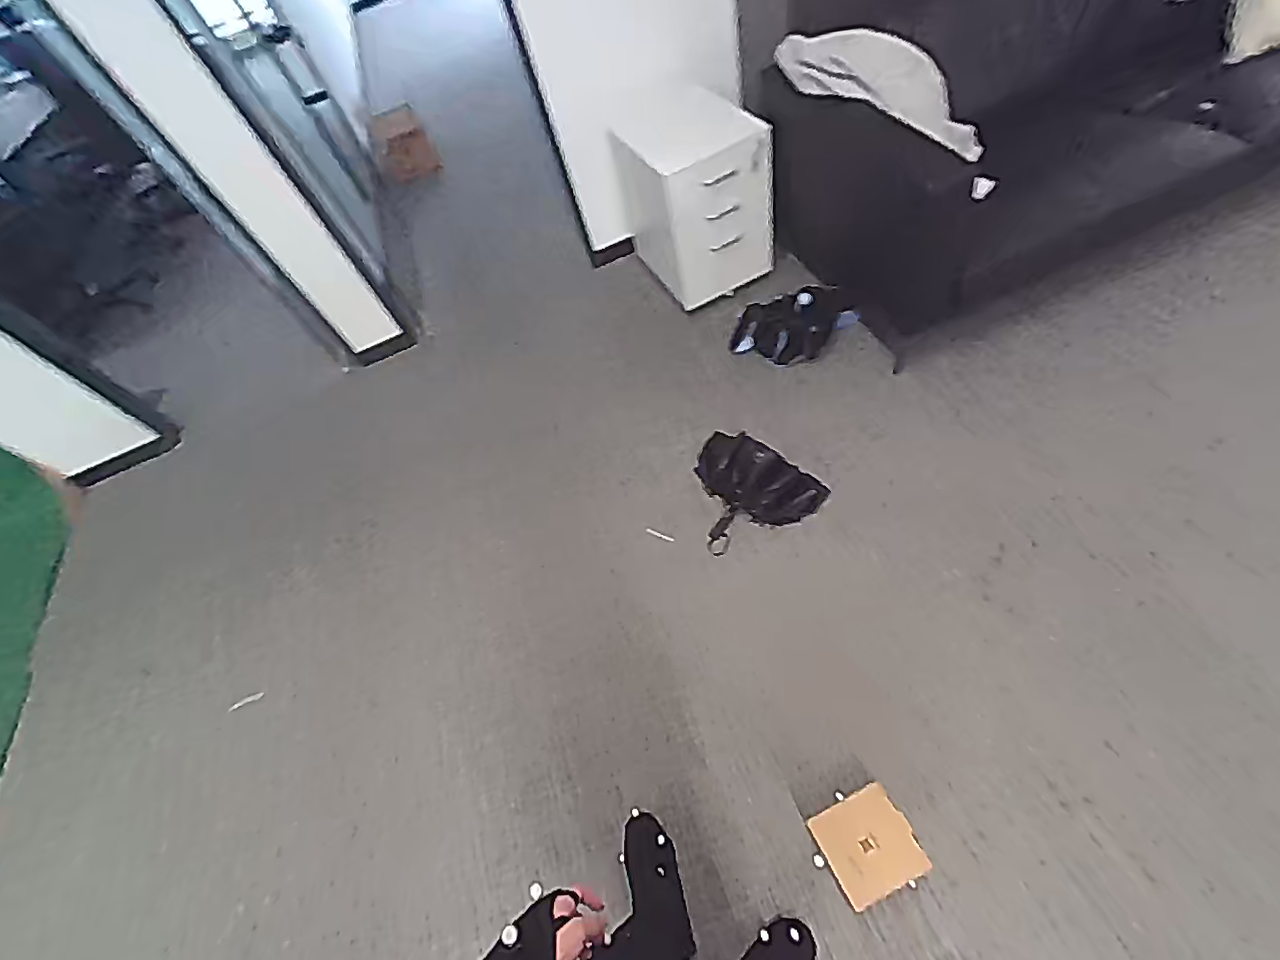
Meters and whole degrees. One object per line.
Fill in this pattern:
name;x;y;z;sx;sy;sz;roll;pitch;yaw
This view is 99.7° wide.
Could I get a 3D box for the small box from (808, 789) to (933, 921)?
small box;0.467;0.776;1.128;0.179;0.176;0.168;-28;52;-4
